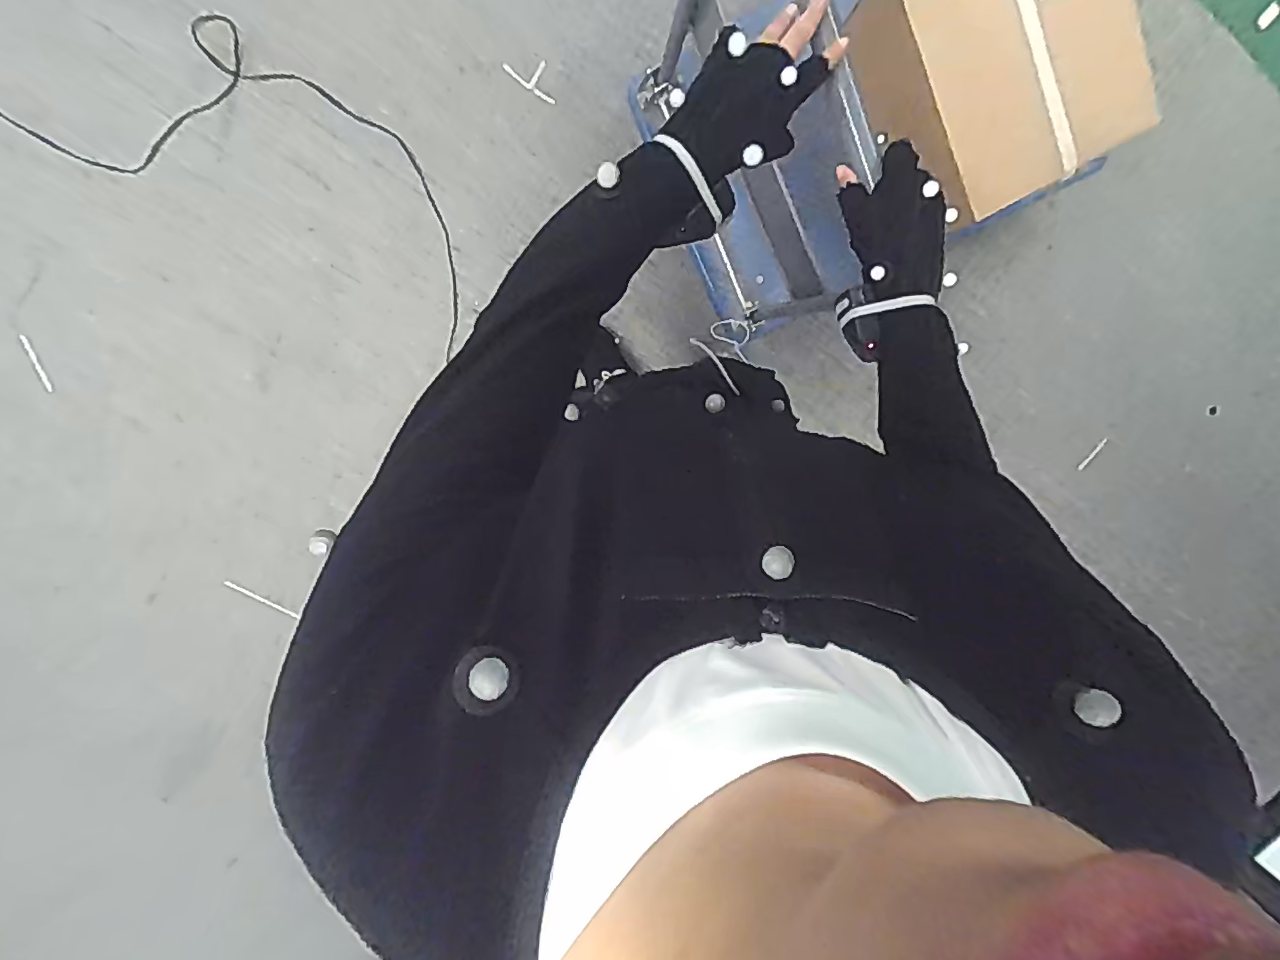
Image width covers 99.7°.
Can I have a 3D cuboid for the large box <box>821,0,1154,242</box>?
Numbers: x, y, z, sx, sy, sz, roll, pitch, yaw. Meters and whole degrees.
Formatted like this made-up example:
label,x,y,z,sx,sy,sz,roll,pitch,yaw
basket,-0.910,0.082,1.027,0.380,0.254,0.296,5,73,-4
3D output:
label,x,y,z,sx,sy,sz,roll,pitch,yaw
large box,0.585,-0.713,0.970,0.320,0.320,0.408,-28,103,6
